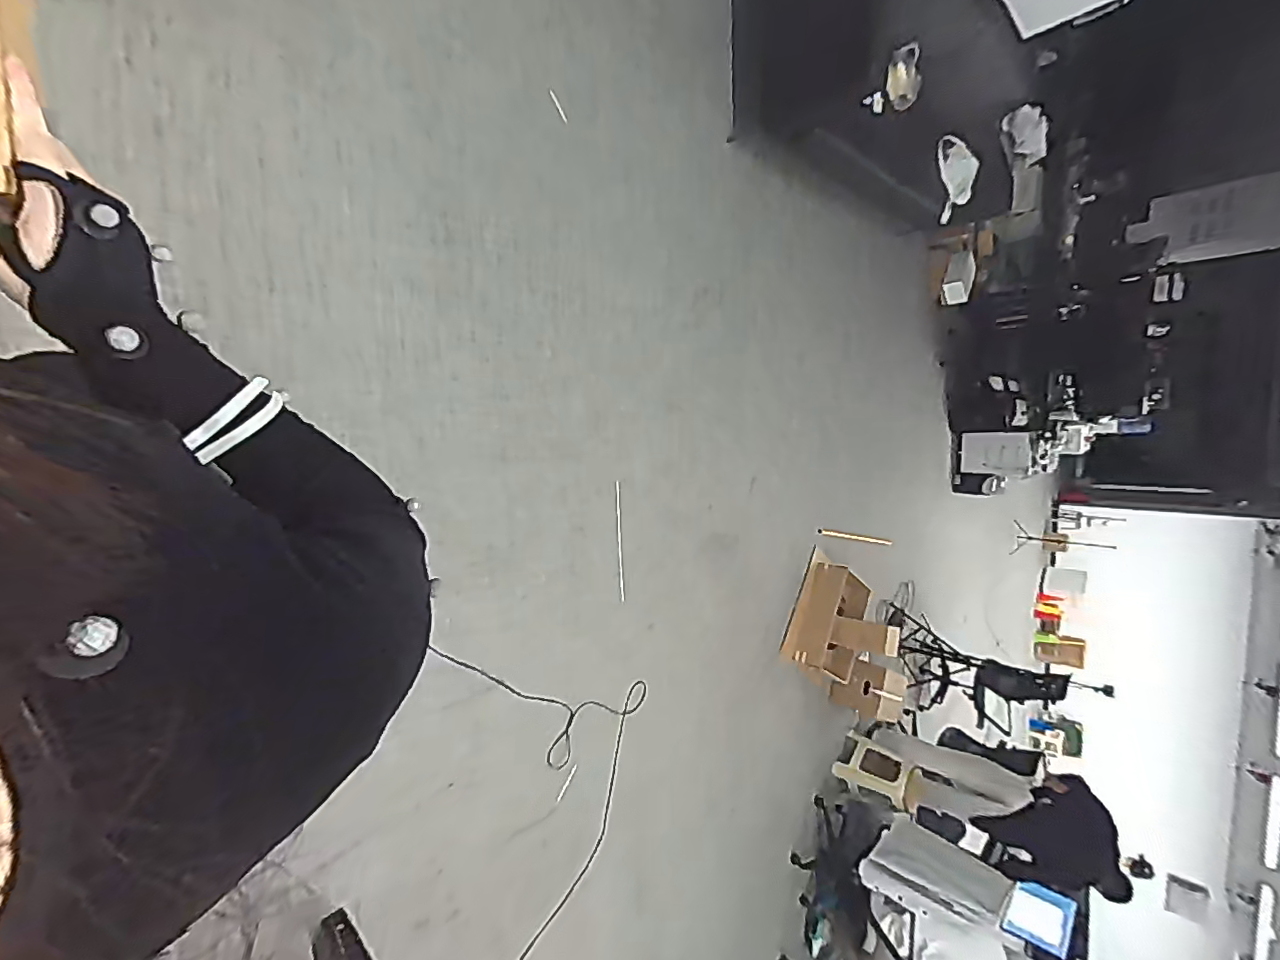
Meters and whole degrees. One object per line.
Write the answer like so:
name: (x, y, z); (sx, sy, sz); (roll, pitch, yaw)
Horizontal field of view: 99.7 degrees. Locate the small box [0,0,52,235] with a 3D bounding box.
small box: (-0.484, -0.261, 0.318); (0.168, 0.176, 0.179); (-5, 102, -41)
